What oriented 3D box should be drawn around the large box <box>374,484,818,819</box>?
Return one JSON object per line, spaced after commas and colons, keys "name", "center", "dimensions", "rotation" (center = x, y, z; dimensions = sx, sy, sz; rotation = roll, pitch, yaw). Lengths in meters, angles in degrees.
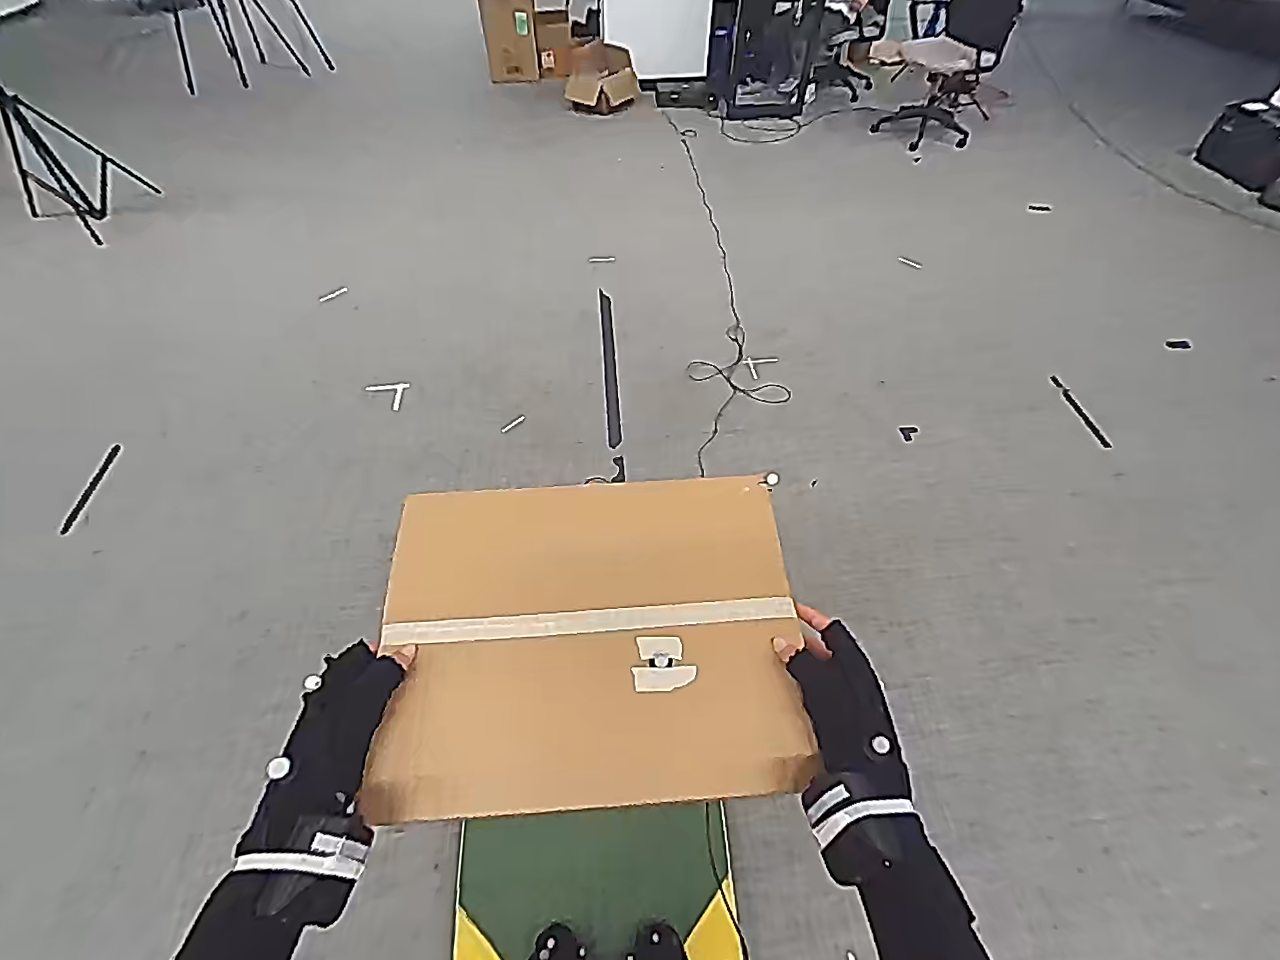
{"name": "large box", "center": [-0.050, 0.224, 0.678], "dimensions": [0.408, 0.320, 0.320], "rotation": [-3, 60, -3]}
